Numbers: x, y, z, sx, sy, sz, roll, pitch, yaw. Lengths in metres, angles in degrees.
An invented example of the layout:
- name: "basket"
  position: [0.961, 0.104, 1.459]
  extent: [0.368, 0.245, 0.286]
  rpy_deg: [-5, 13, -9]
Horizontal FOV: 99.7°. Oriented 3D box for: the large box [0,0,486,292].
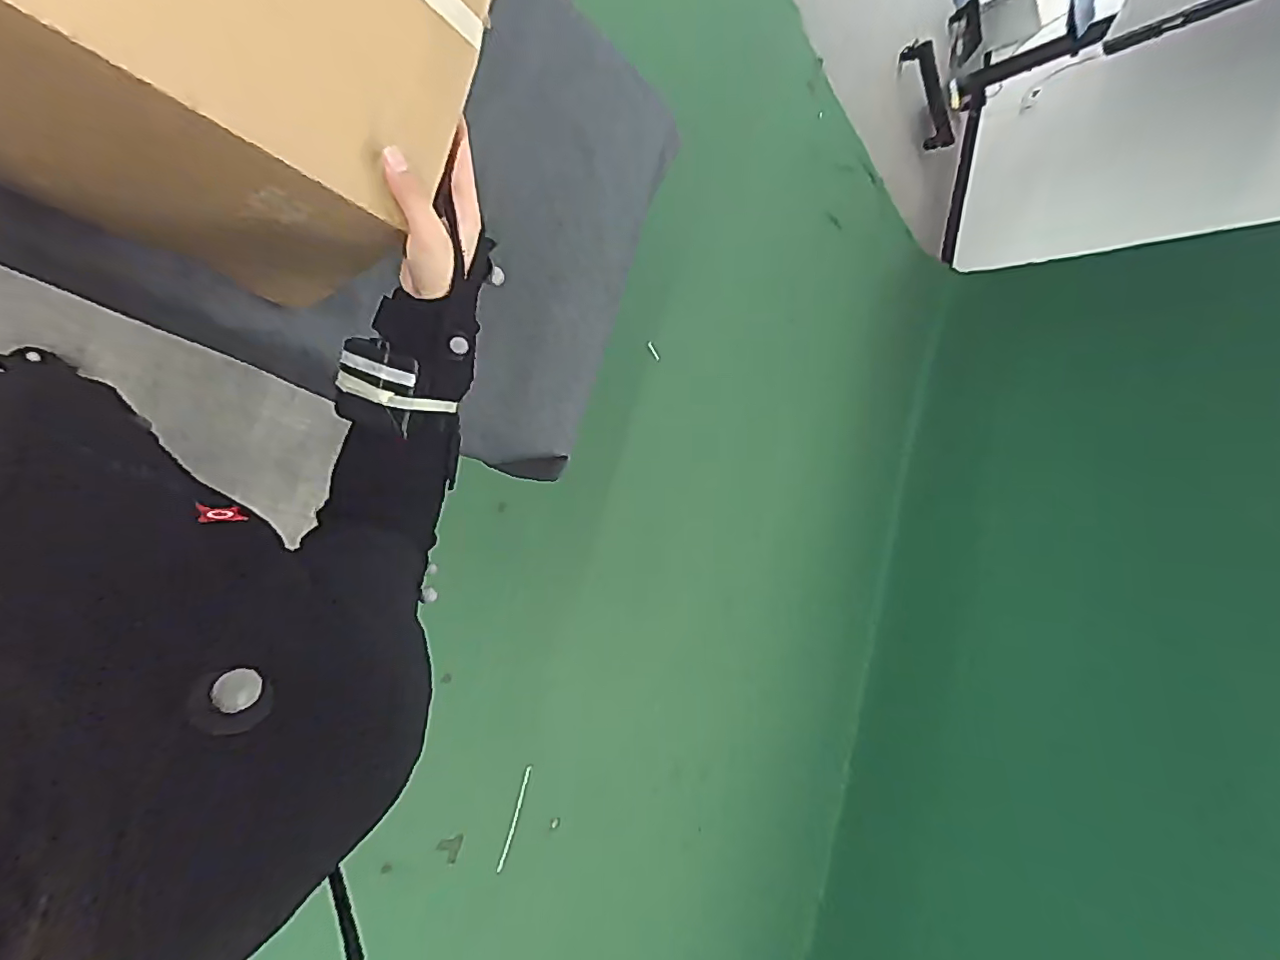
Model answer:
- name: "large box"
  position: [-0.361, -0.381, 0.359]
  extent: [0.408, 0.320, 0.320]
  rpy_deg: [20, 80, -45]
